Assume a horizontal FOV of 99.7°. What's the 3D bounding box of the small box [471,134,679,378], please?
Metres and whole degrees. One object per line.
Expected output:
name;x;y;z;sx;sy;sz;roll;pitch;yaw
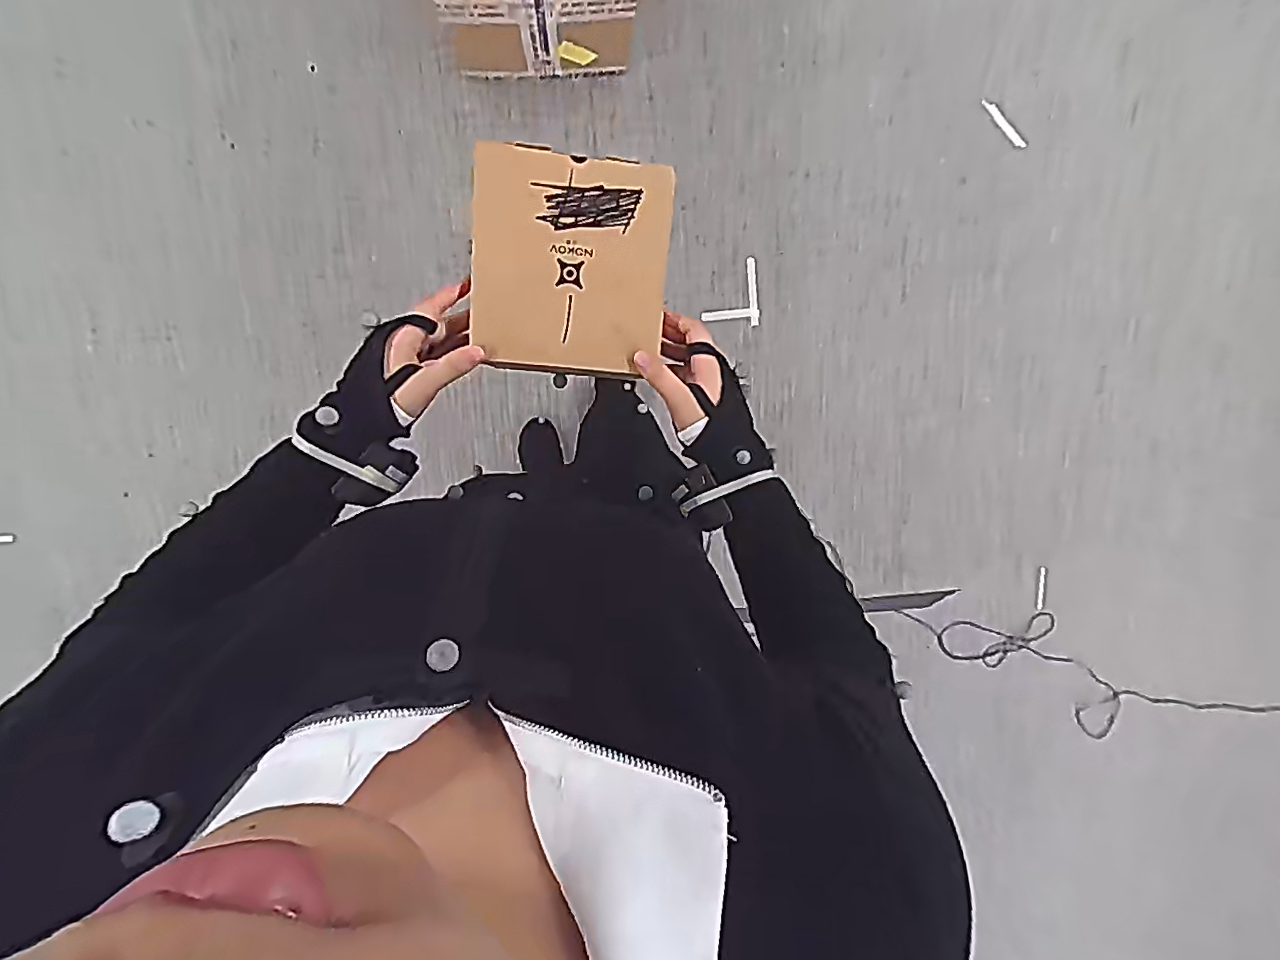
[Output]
small box;-0.066;-0.199;0.534;0.168;0.176;0.179;4;99;-8
